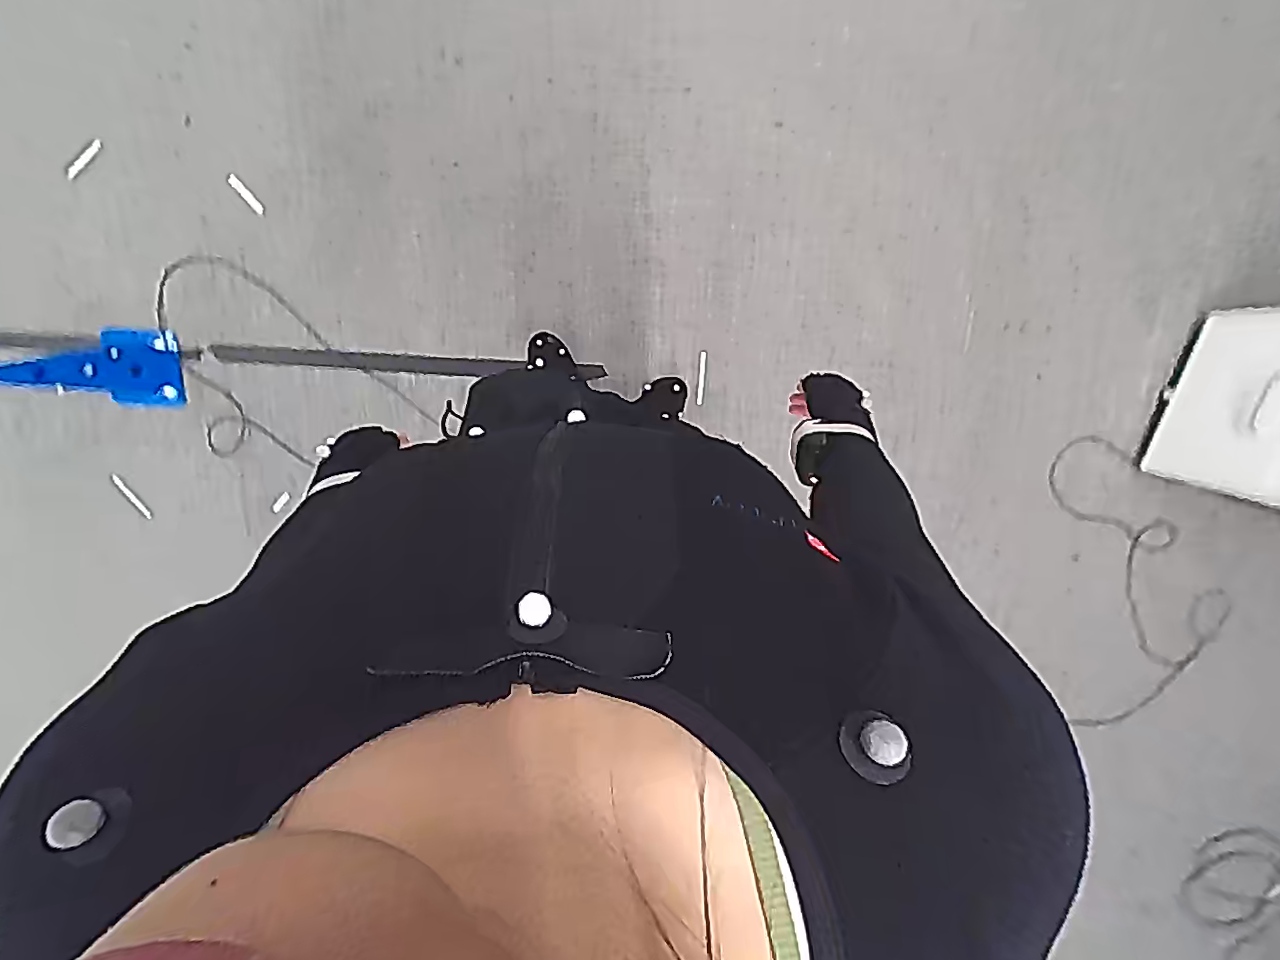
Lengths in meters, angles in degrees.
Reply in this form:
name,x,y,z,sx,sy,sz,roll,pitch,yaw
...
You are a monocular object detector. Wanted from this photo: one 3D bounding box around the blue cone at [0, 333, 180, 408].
name,x,y,z,sx,sy,sz,roll,pitch,yaw
blue cone,-1.310,-0.243,1.256,0.192,0.380,0.193,2,105,0
